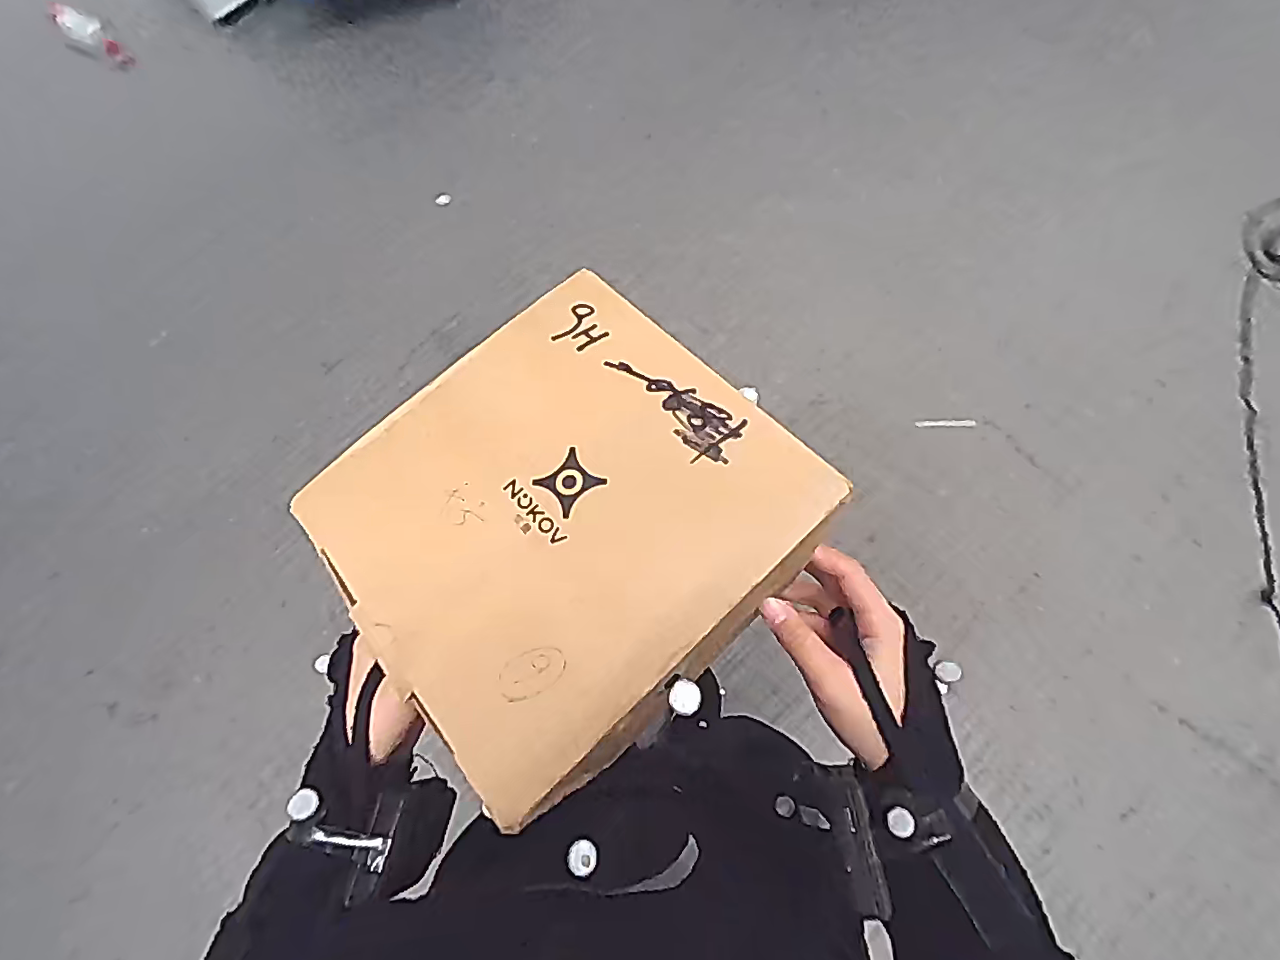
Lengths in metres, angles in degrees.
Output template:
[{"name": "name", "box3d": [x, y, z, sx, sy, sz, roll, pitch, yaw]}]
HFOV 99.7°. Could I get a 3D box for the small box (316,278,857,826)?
[{"name": "small box", "box3d": [-0.018, 0.039, 0.295, 0.179, 0.176, 0.168, -41, 68, -8]}]
